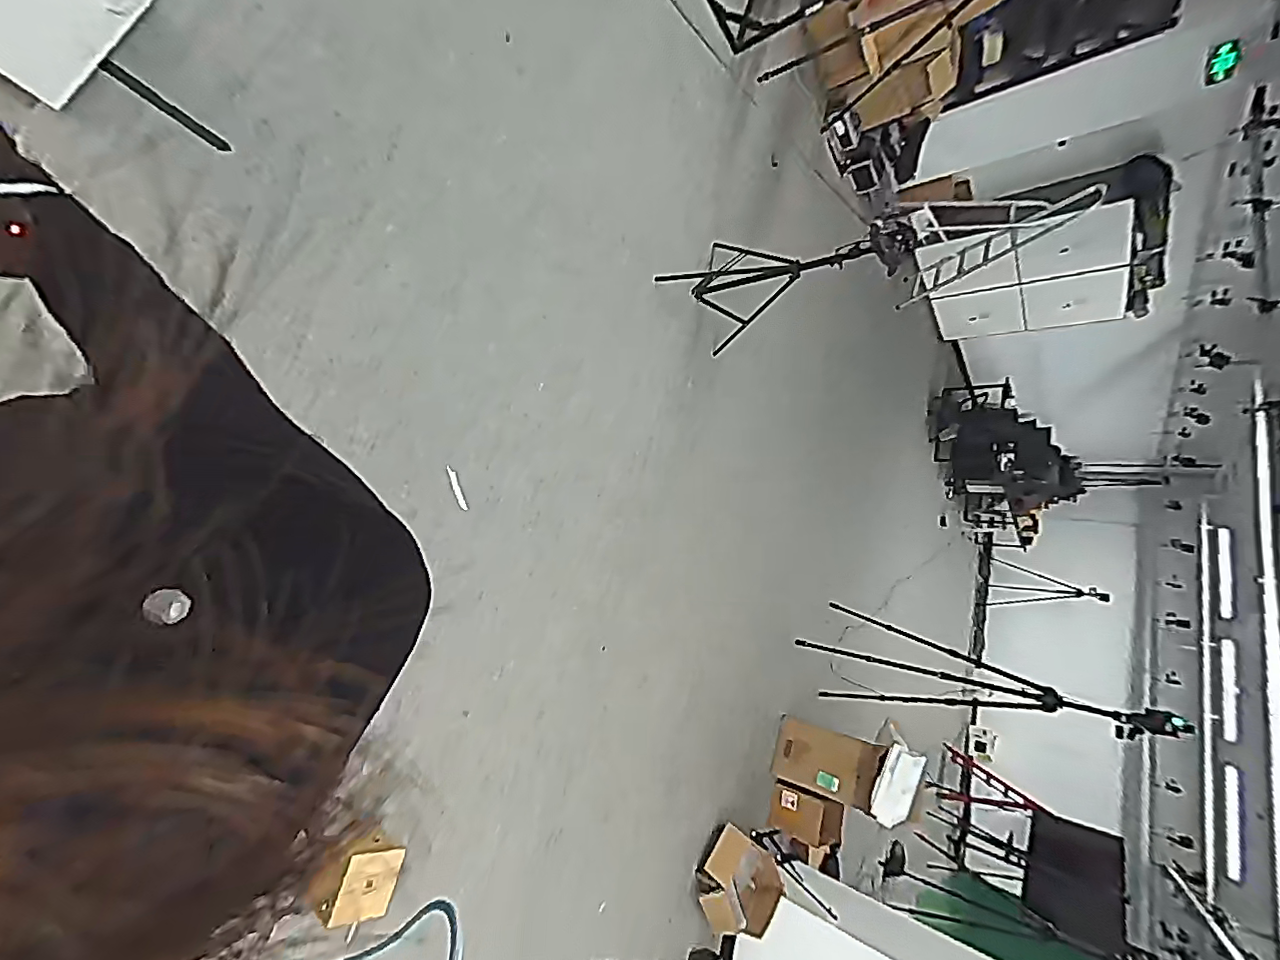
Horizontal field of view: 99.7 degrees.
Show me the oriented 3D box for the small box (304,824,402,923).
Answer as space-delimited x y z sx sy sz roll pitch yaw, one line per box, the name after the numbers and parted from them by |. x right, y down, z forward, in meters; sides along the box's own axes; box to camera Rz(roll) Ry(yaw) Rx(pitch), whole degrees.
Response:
-0.827 1.115 1.552 0.168 0.176 0.179 32 69 -46 | small box
